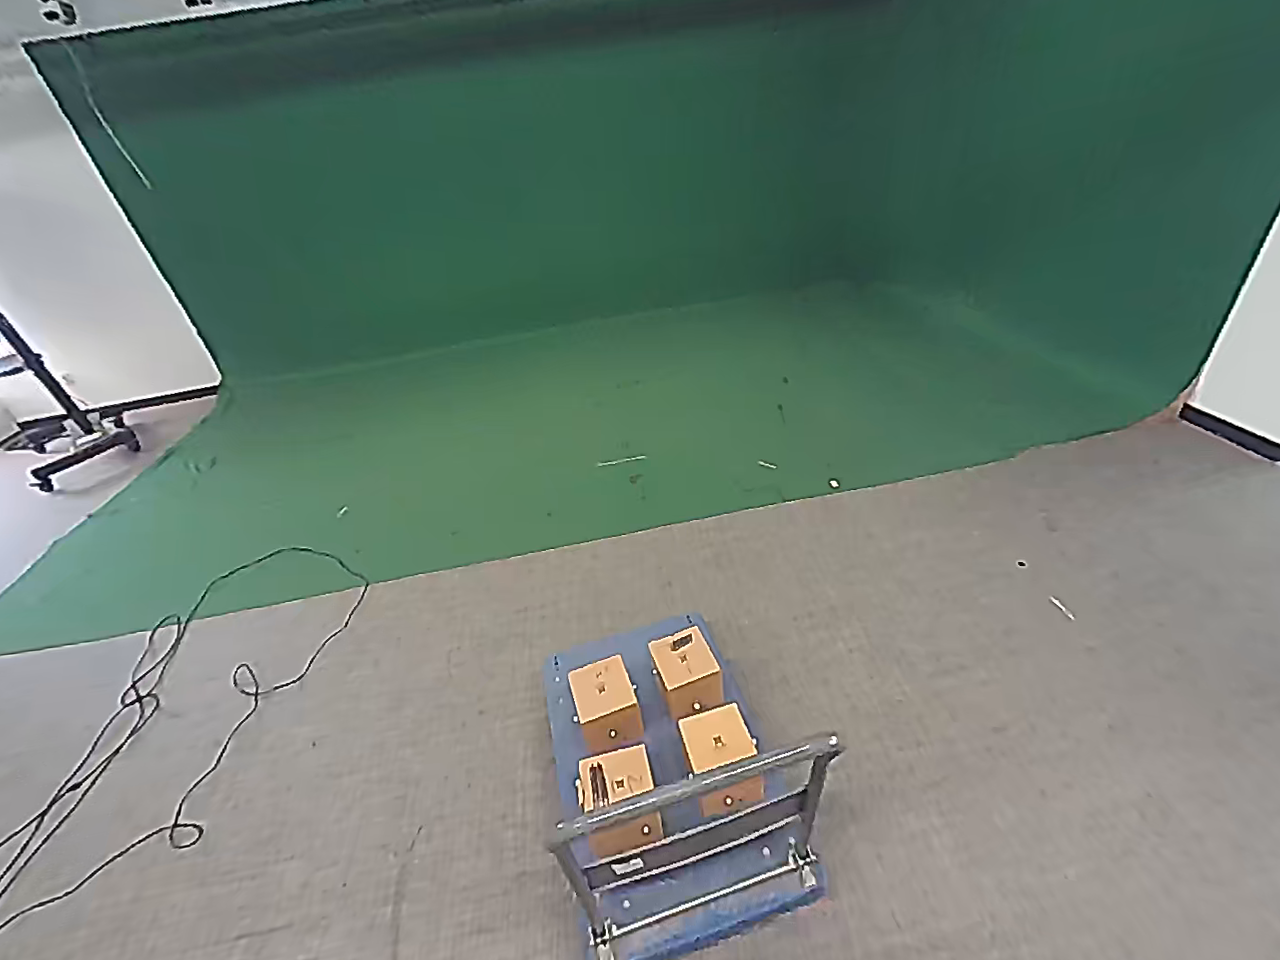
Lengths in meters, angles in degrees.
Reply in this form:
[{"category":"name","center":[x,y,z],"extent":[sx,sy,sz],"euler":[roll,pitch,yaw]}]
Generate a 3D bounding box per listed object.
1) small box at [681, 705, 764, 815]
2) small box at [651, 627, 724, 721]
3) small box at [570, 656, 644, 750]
[{"category":"small box","center":[0.211,0.729,1.408],"extent":[0.168,0.176,0.179],"euler":[-14,36,-7]},{"category":"small box","center":[0.142,0.583,1.625],"extent":[0.168,0.176,0.179],"euler":[-17,37,-10]},{"category":"small box","center":[-0.095,0.654,1.575],"extent":[0.168,0.176,0.179],"euler":[-16,36,-11]}]
